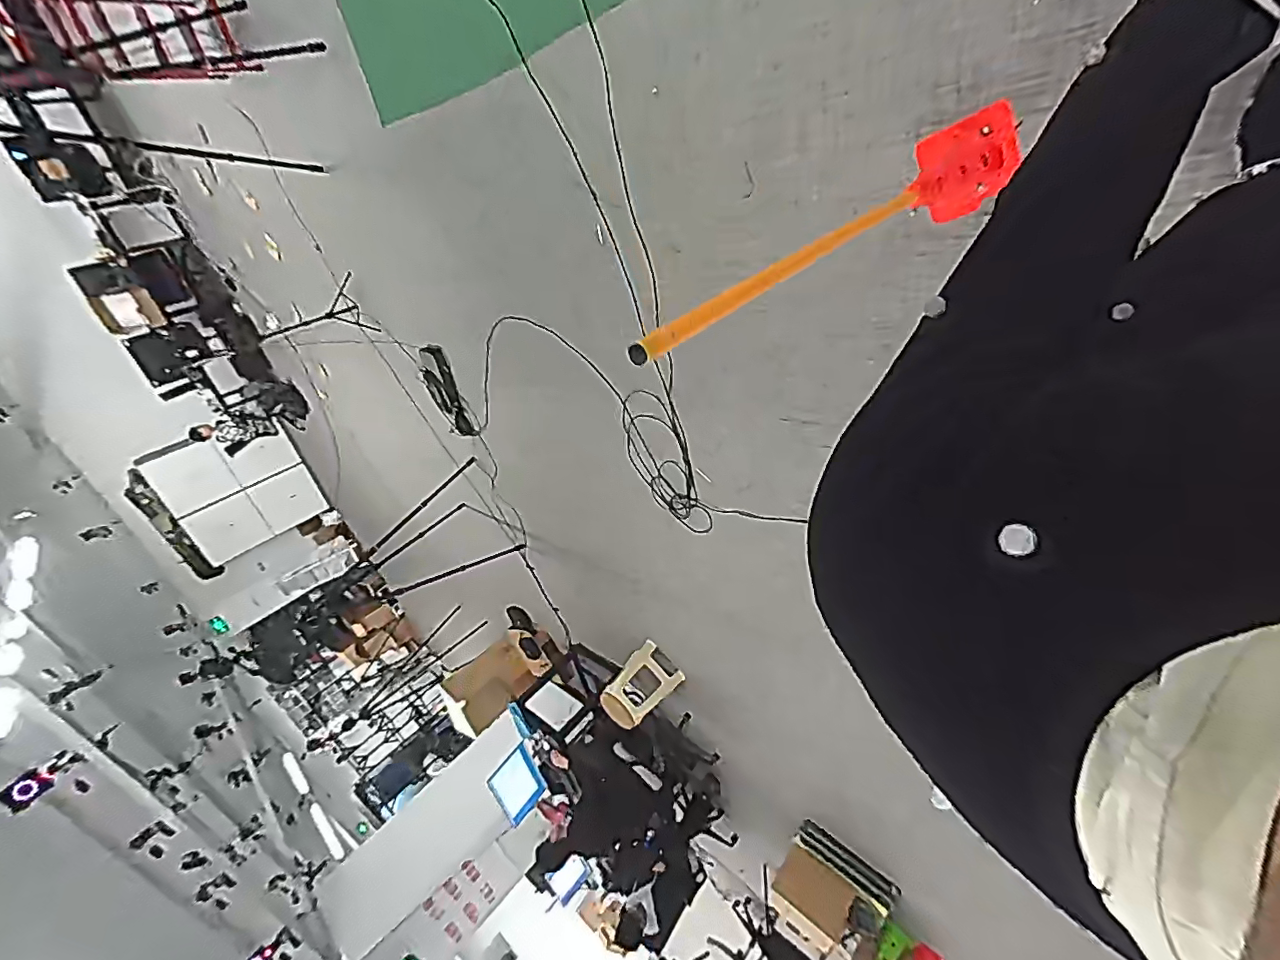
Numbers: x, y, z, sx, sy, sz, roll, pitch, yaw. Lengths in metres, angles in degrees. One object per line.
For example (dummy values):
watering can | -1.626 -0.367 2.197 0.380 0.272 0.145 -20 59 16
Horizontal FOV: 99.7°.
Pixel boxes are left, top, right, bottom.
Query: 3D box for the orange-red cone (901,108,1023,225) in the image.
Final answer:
orange-red cone | 0.649 -0.635 1.161 0.199 0.360 0.198 -2 118 52
